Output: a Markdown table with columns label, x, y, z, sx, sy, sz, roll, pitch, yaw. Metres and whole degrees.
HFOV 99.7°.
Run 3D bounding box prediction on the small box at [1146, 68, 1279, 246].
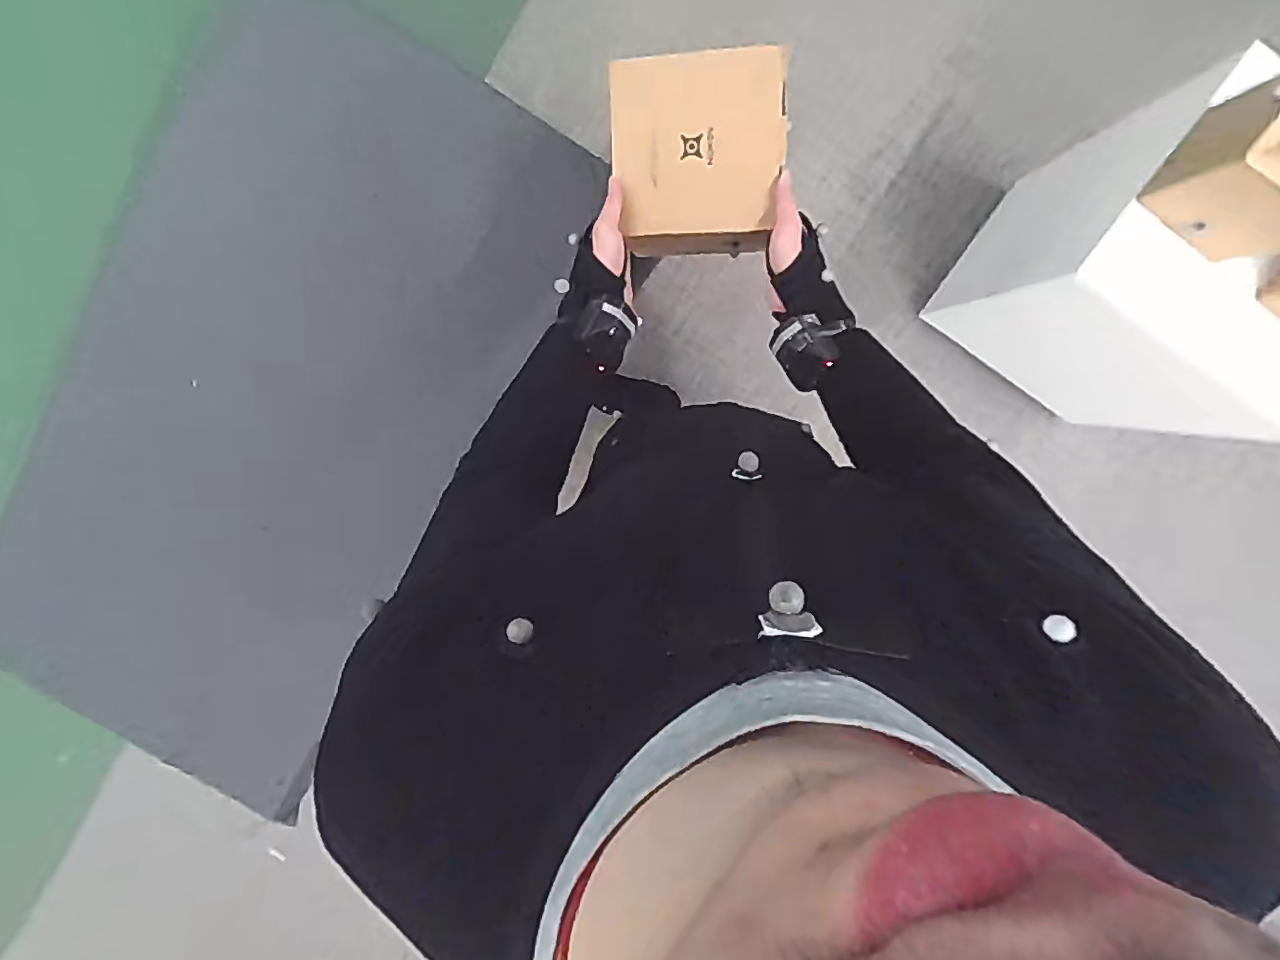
| label | x | y | z | sx | sy | sz | roll | pitch | yaw |
| --- | --- | --- | --- | --- | --- | --- | --- | --- | --- |
| small box | 0.886 | -0.450 | 0.748 | 0.179 | 0.176 | 0.168 | 34 | 100 | -5 |

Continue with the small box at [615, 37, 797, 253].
| label | x | y | z | sx | sy | sz | roll | pitch | yaw |
| --- | --- | --- | --- | --- | --- | --- | --- | --- | --- |
| small box | 0.075 | -0.359 | 0.614 | 0.179 | 0.176 | 0.168 | 1 | 105 | 10 |
